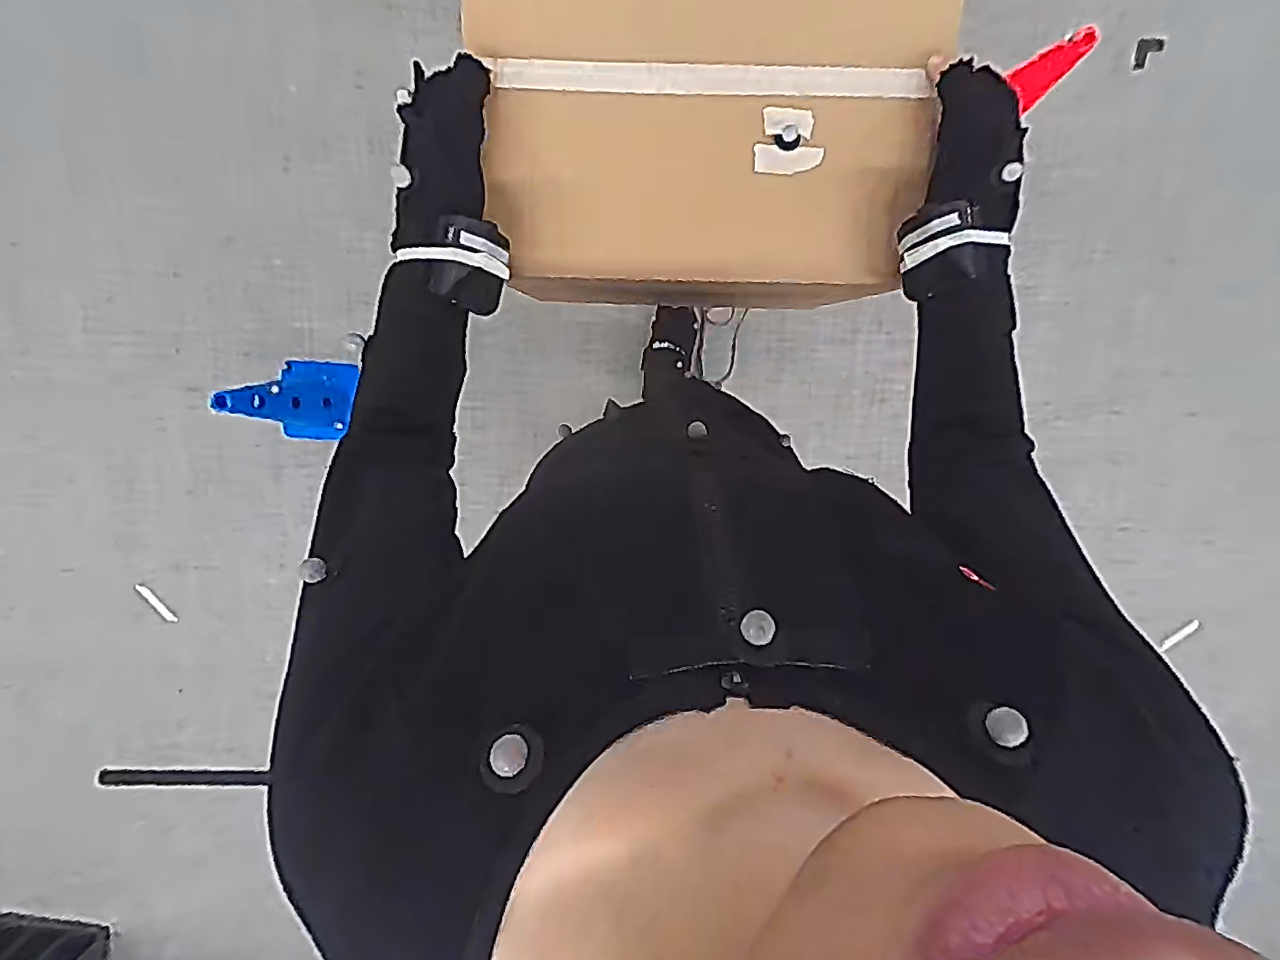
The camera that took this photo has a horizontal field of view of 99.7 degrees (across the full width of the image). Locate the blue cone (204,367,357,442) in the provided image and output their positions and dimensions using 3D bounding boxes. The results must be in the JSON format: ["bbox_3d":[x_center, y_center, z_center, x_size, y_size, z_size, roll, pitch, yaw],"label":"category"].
[{"bbox_3d":[-0.828,-0.173,1.243,0.192,0.380,0.193,4,98,-1],"label":"blue cone"}]

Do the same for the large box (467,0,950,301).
[{"bbox_3d":[0.051,-0.375,0.599,0.408,0.320,0.320,1,104,-2],"label":"large box"}]

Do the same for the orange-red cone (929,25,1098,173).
[{"bbox_3d":[0.826,-0.852,1.178,0.198,0.360,0.199,-1,97,-2],"label":"orange-red cone"}]
